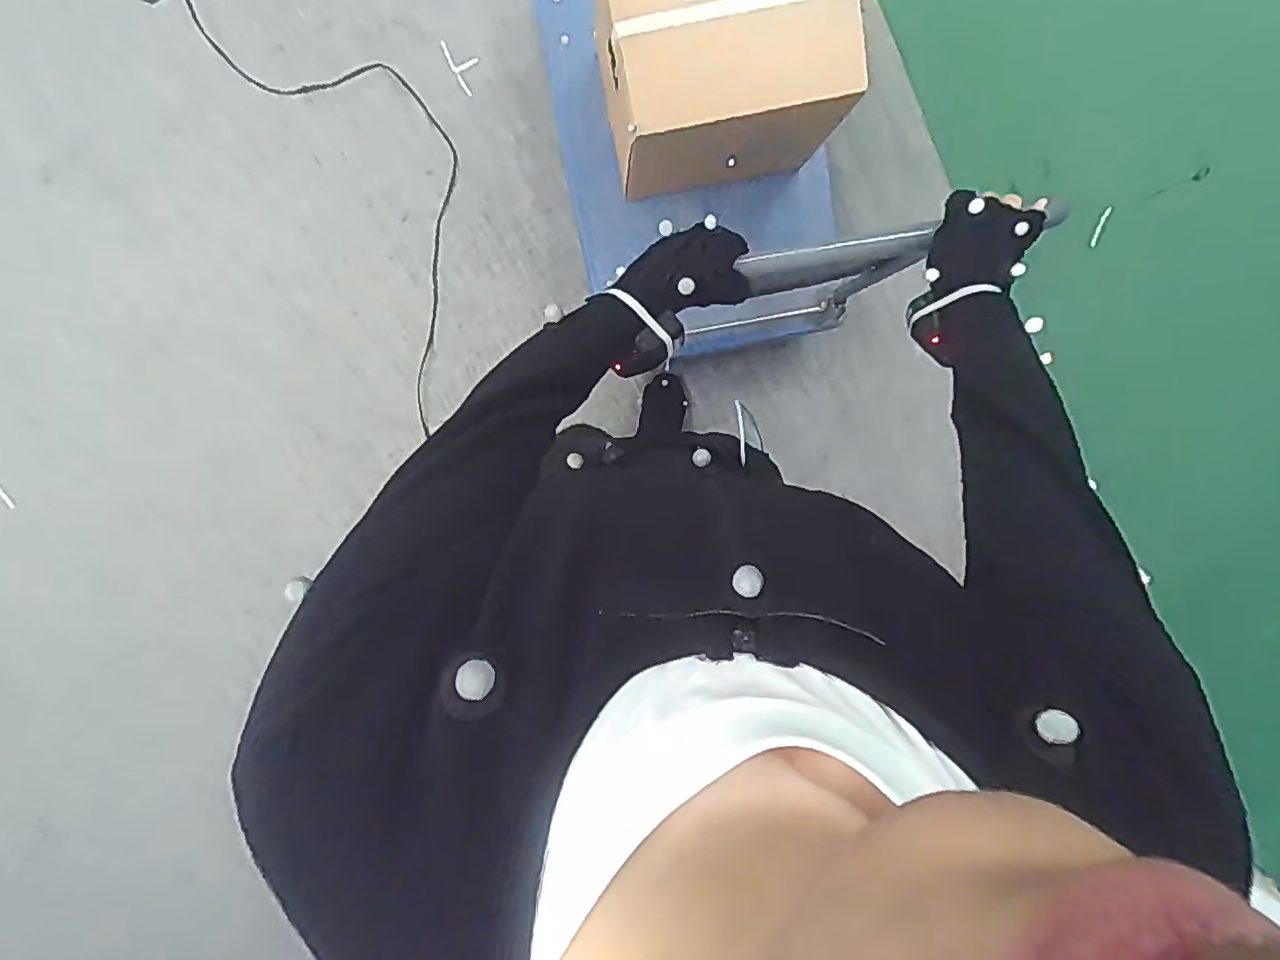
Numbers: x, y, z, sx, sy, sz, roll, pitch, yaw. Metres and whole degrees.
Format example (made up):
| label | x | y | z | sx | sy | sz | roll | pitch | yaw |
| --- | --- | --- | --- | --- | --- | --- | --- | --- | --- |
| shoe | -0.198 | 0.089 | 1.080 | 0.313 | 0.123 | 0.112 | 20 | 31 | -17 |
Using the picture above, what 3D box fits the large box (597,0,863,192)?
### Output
| label | x | y | z | sx | sy | sz | roll | pitch | yaw |
| --- | --- | --- | --- | --- | --- | --- | --- | --- | --- |
| large box | 0.147 | -0.794 | 1.026 | 0.408 | 0.320 | 0.320 | -12 | 100 | -1 |
